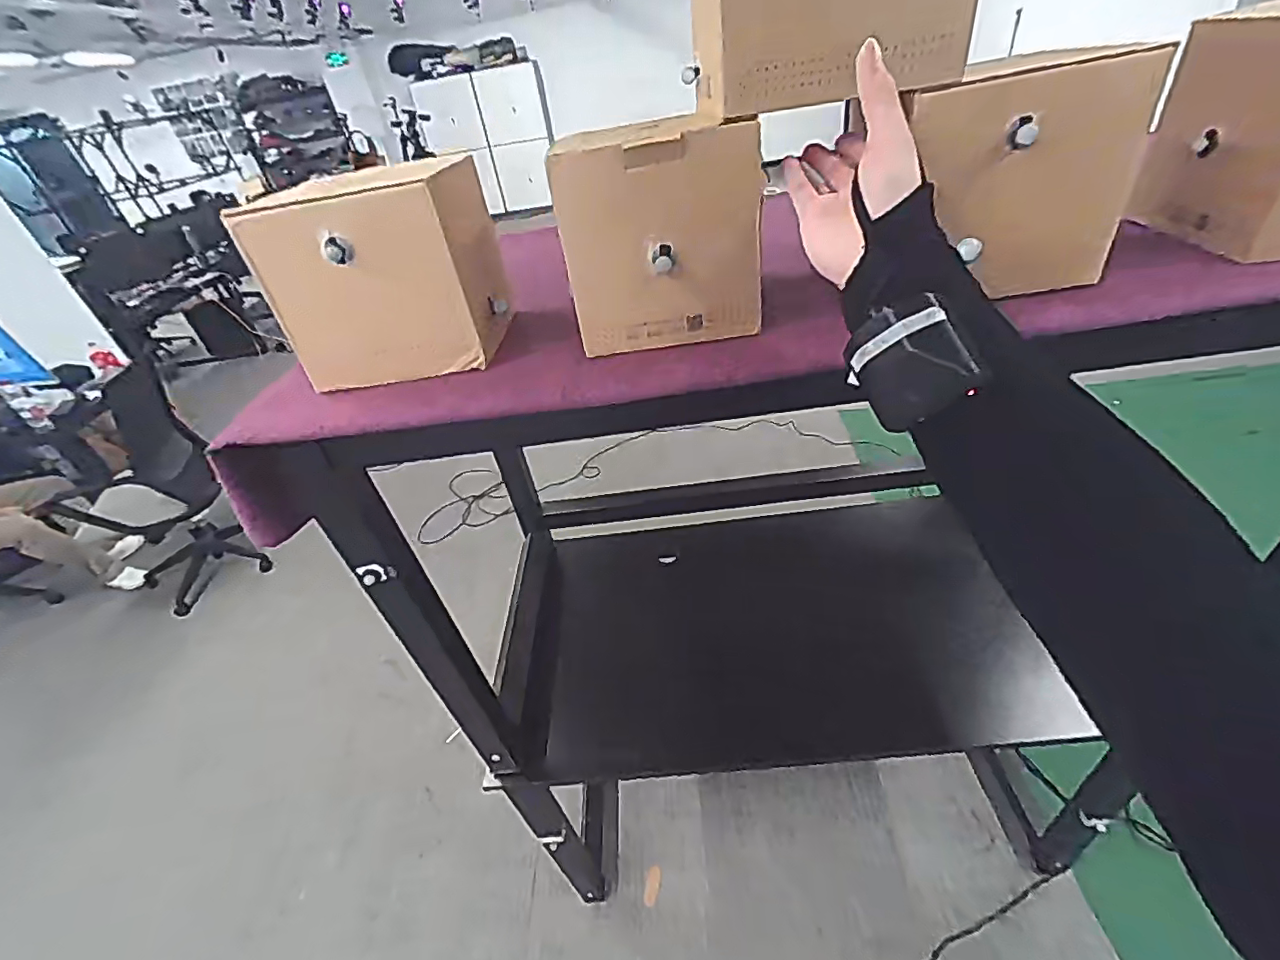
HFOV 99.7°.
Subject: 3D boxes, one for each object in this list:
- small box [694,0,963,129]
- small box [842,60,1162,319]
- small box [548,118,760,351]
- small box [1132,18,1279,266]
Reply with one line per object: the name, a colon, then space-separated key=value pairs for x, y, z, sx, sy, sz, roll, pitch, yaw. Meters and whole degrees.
small box: x=0.135 y=-0.384 z=0.421 sx=0.179 sy=0.176 sz=0.168 roll=-7 pitch=35 yaw=3
small box: x=0.300 y=-0.266 z=0.501 sx=0.179 sy=0.176 sz=0.168 roll=-8 pitch=35 yaw=6
small box: x=0.020 y=-0.234 z=0.525 sx=0.168 sy=0.176 sz=0.179 roll=-7 pitch=36 yaw=4
small box: x=0.583 y=-0.298 z=0.468 sx=0.179 sy=0.176 sz=0.168 roll=-5 pitch=38 yaw=9
